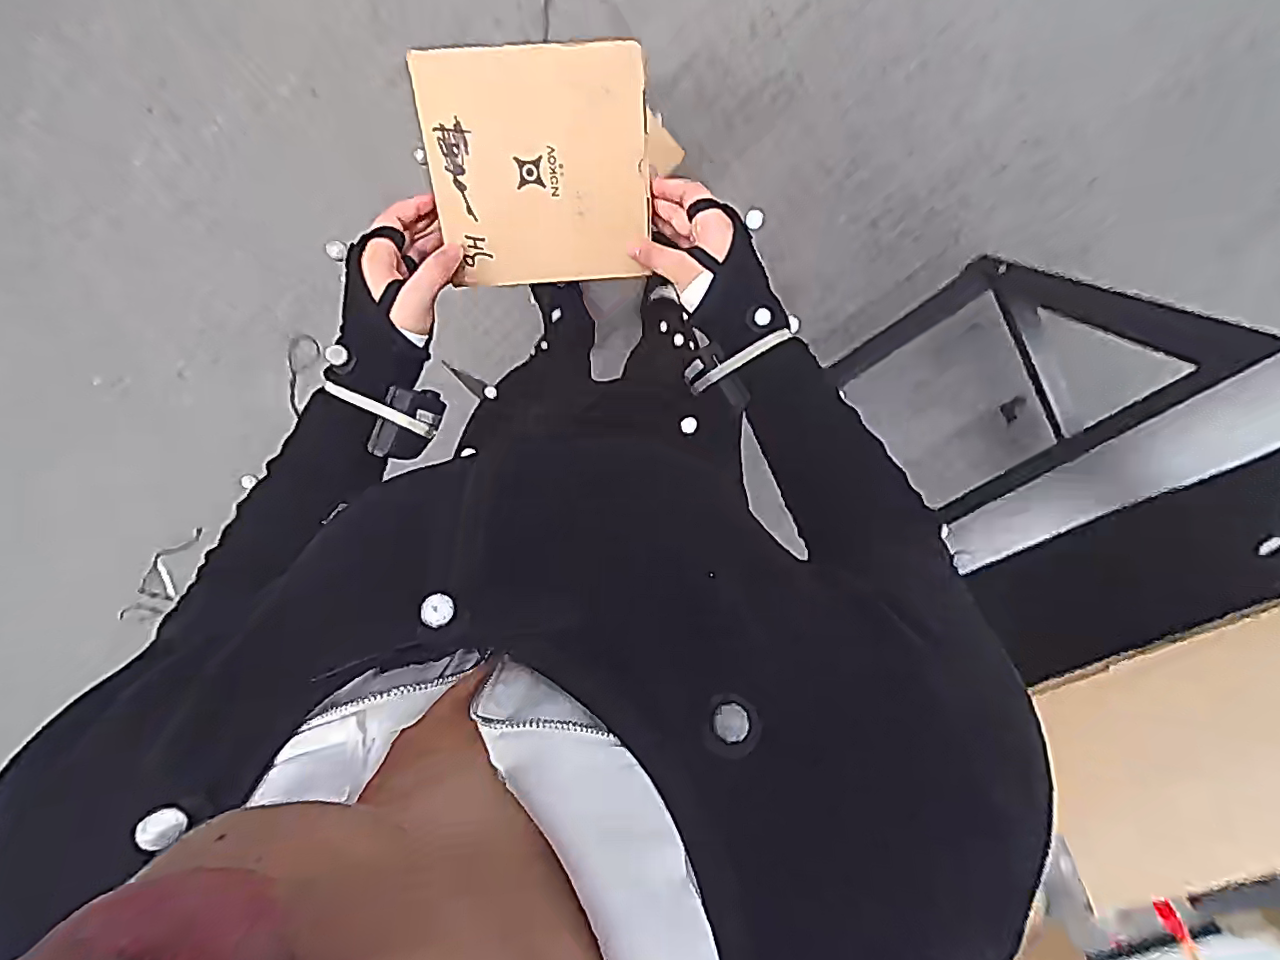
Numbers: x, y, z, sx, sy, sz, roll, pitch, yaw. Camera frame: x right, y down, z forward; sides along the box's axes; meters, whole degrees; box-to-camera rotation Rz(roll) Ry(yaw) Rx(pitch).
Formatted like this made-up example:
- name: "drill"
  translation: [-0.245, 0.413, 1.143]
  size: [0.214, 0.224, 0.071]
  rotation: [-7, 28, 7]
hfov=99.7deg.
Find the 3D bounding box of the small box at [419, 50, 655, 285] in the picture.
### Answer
- name: "small box"
  translation: [-0.085, -0.286, 0.516]
  size: [0.179, 0.176, 0.168]
  rotation: [-6, 115, -3]
